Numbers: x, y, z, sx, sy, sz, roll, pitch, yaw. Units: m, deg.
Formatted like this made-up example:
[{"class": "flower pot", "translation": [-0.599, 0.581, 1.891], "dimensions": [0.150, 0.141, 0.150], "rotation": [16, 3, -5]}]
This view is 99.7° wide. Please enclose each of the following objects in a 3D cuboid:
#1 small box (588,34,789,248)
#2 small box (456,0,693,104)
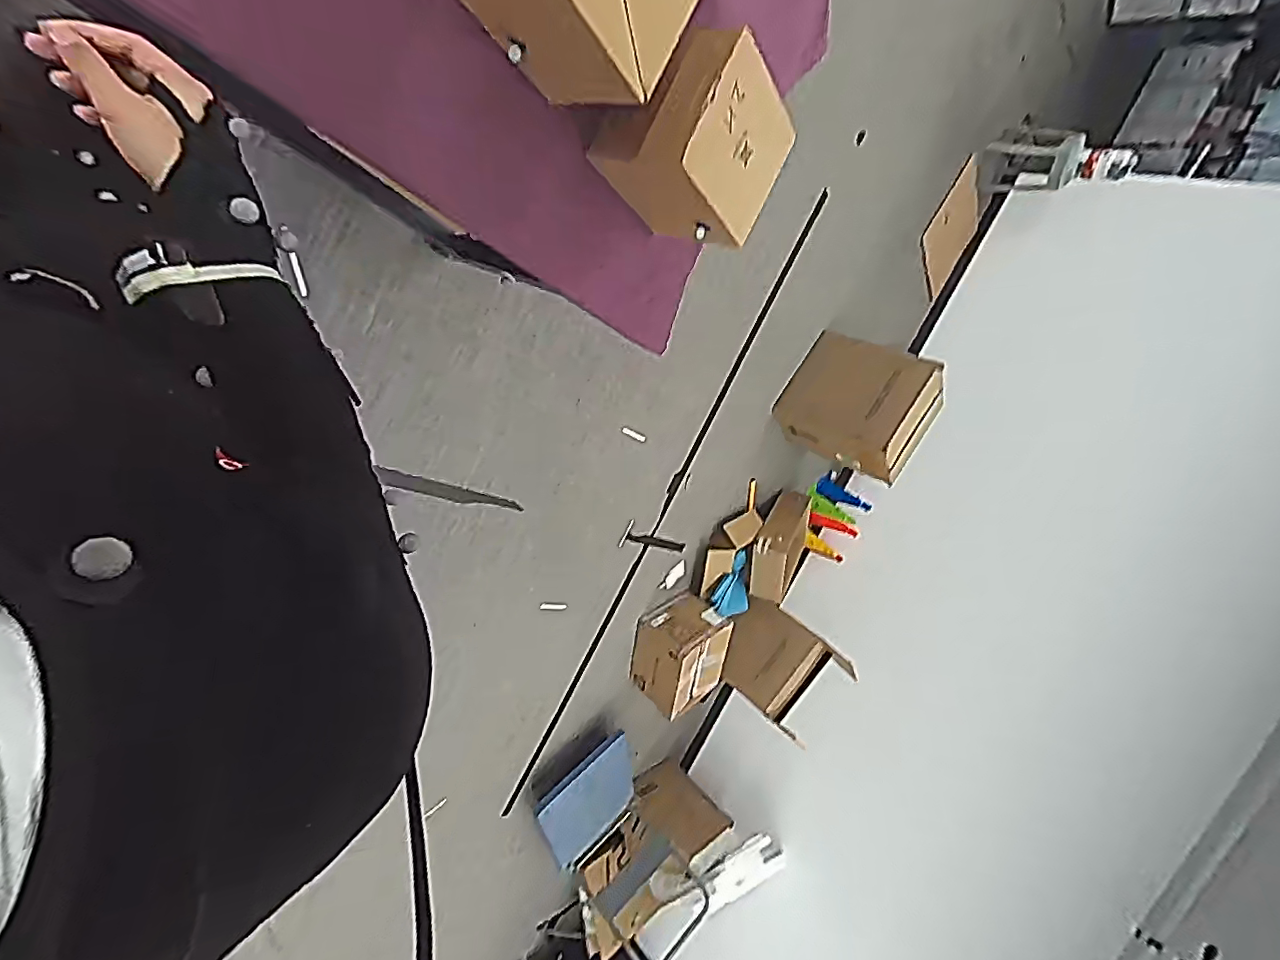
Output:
[{"class": "small box", "translation": [0.066, -0.445, 0.725], "dimensions": [0.179, 0.176, 0.168], "rotation": [22, 95, -54]}, {"class": "small box", "translation": [-0.063, -0.509, 0.525], "dimensions": [0.179, 0.176, 0.168], "rotation": [23, 95, -53]}]
